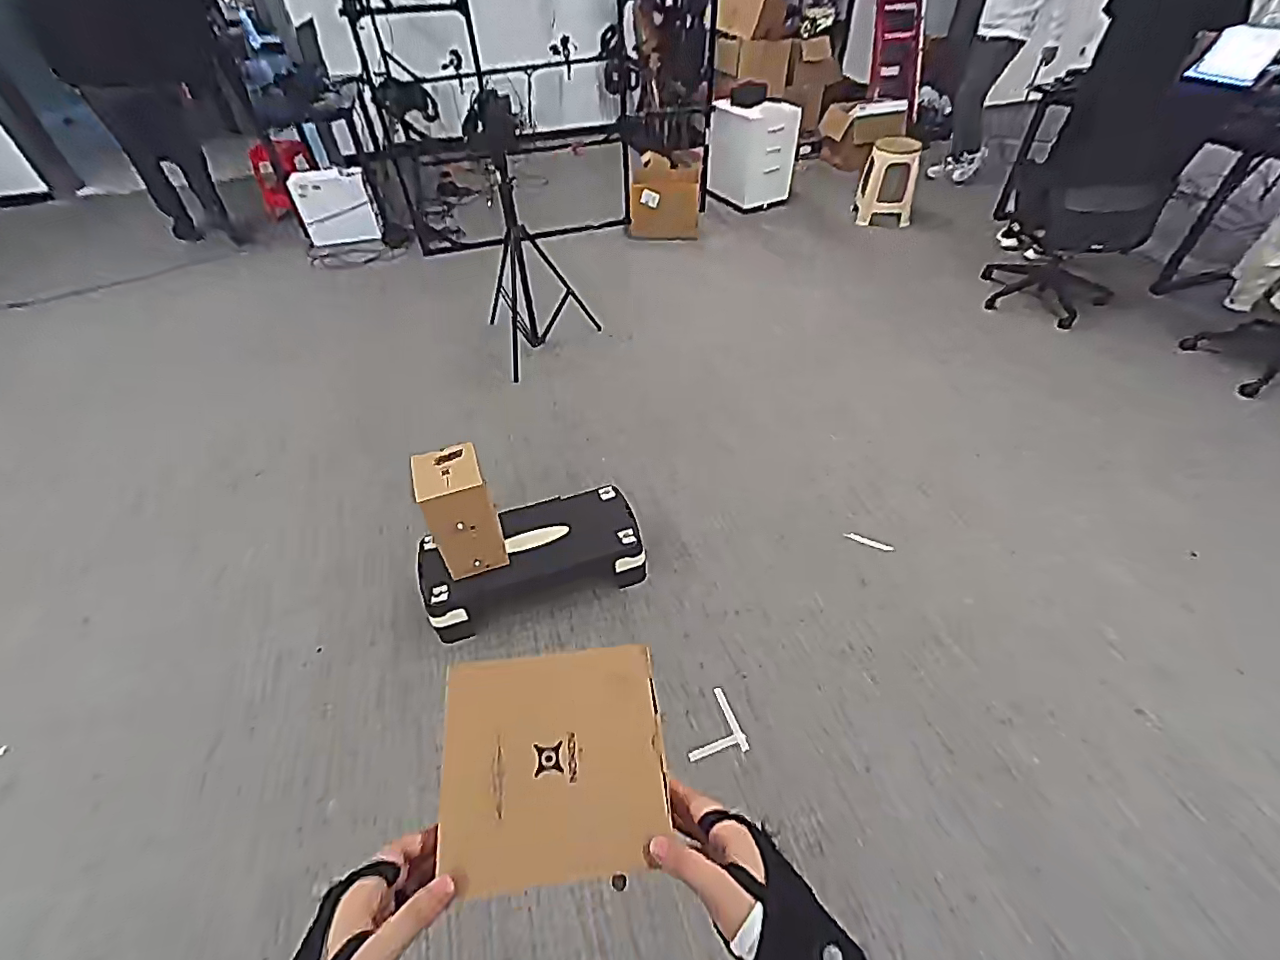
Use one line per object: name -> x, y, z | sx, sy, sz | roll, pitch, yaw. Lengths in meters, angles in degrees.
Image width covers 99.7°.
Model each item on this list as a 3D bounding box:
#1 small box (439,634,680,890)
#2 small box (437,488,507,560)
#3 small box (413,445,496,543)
small box -> -0.070, 0.254, 0.497 | 0.179, 0.176, 0.168 | -6, 58, -6
small box -> -0.488, 0.155, 1.567 | 0.168, 0.176, 0.179 | -16, 47, -13
small box -> -0.497, 0.037, 1.453 | 0.168, 0.176, 0.179 | -17, 48, -14
